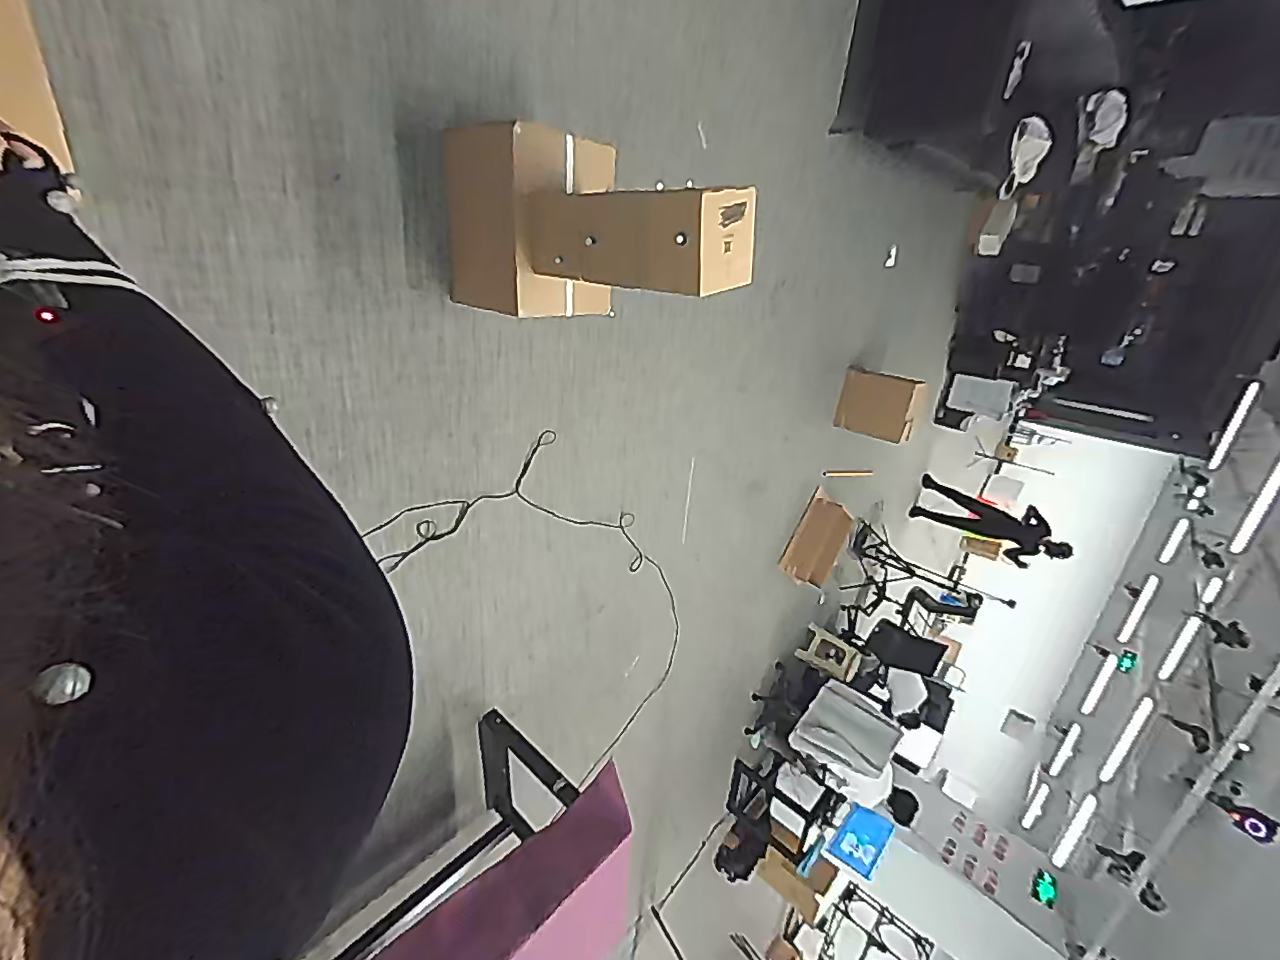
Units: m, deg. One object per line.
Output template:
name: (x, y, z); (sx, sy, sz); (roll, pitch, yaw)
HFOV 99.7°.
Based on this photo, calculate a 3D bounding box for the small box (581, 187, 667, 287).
small box: (-0.010, -0.525, 1.158); (0.168, 0.176, 0.179); (-28, 129, -37)

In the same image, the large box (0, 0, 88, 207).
large box: (-0.966, -0.569, 0.663); (0.320, 0.320, 0.408); (-20, 122, -43)

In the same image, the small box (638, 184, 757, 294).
small box: (0.108, -0.473, 1.054); (0.168, 0.176, 0.179); (-28, 129, -37)
